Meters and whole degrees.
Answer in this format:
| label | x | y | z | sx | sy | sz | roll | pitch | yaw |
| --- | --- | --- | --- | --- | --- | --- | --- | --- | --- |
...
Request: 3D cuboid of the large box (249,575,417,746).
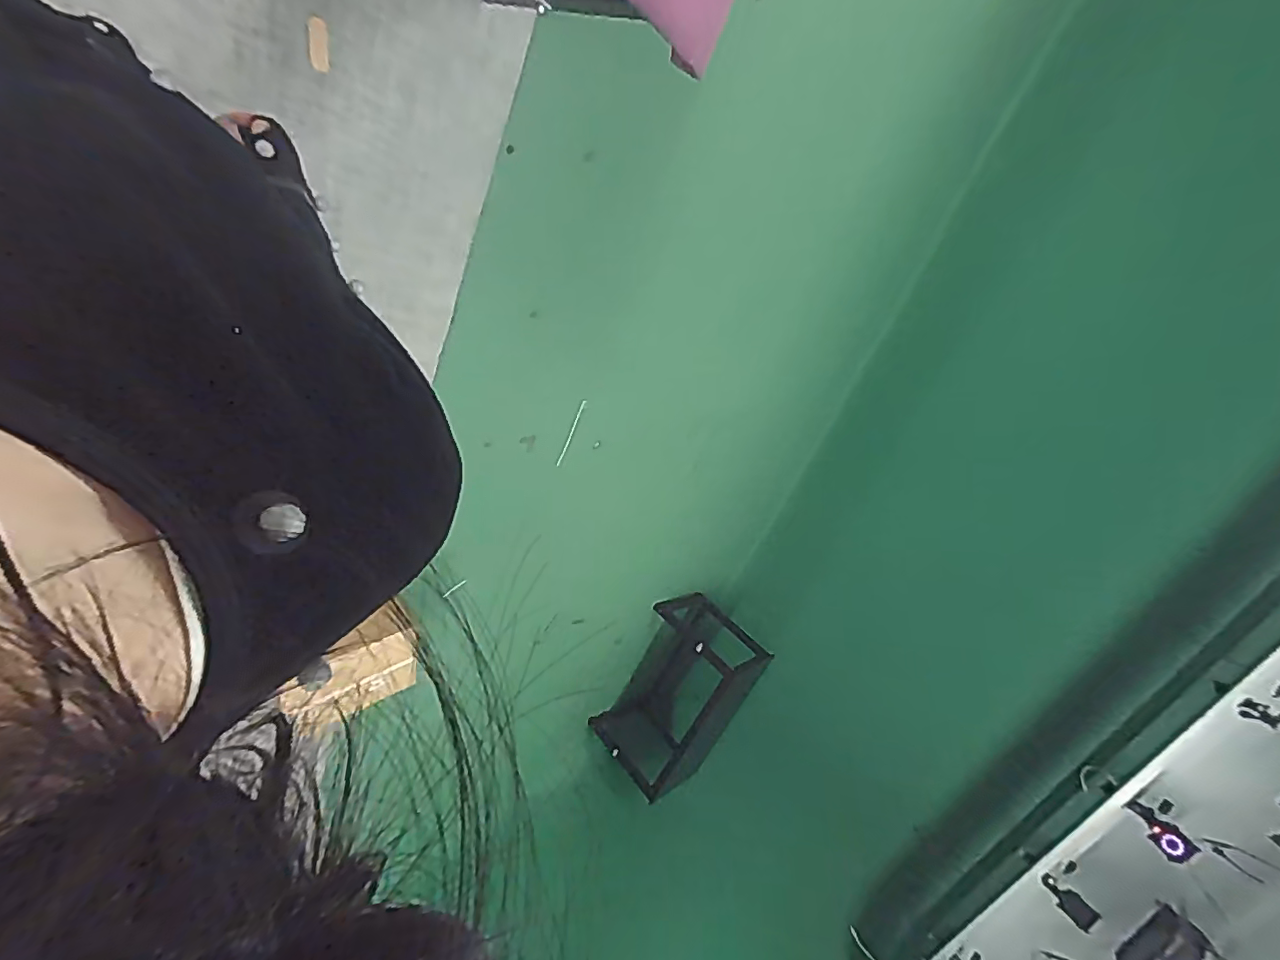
| label | x | y | z | sx | sy | sz | roll | pitch | yaw |
| --- | --- | --- | --- | --- | --- | --- | --- | --- | --- |
| large box | -1.012 | 0.584 | 1.812 | 0.408 | 0.320 | 0.320 | -19 | 136 | -42 |
